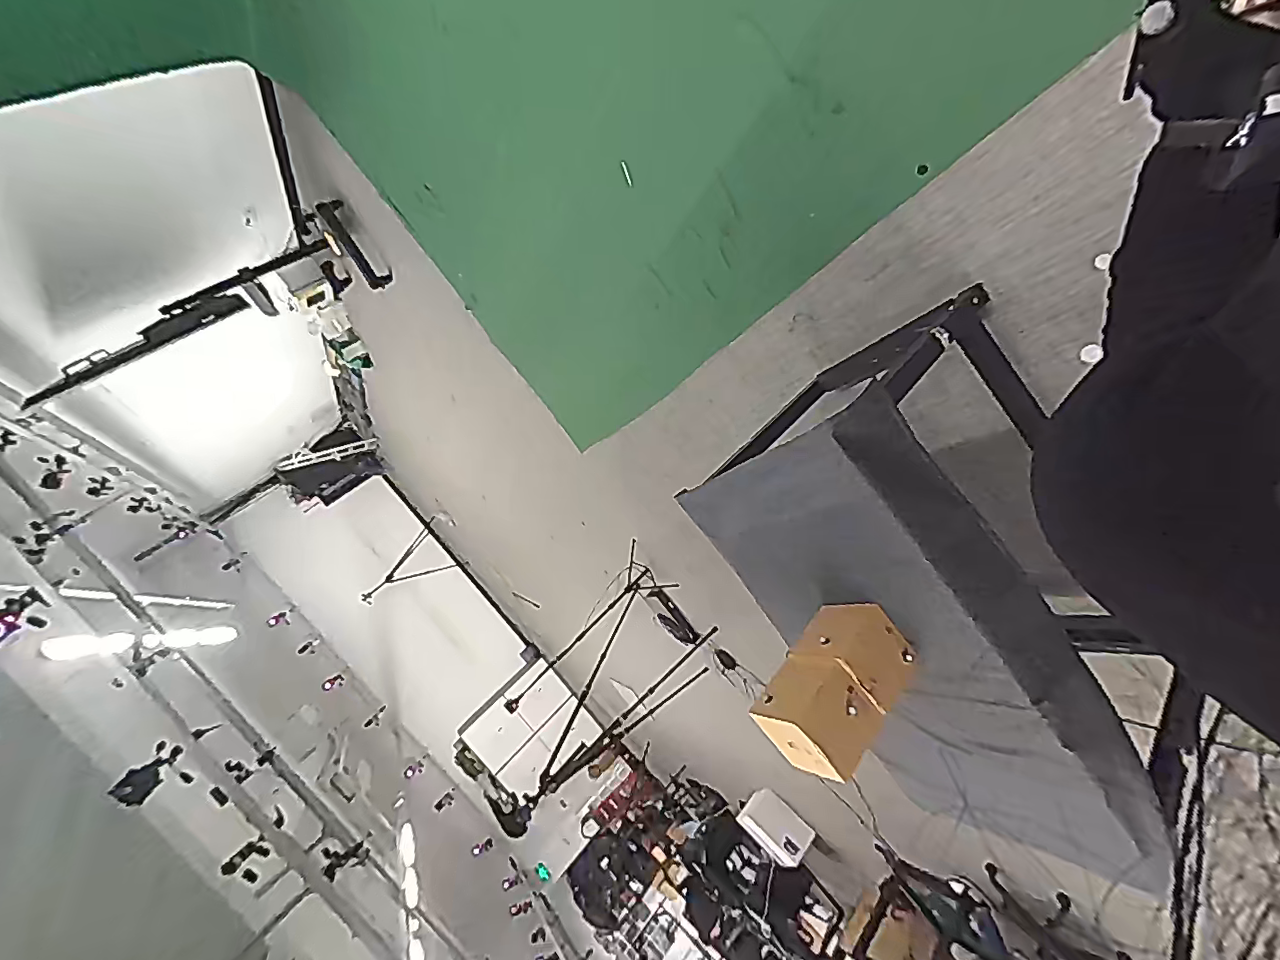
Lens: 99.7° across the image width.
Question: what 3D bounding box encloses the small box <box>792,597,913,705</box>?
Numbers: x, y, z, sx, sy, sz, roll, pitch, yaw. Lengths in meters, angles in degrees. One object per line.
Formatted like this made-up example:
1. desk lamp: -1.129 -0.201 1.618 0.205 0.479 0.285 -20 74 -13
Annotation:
1. small box: 0.498 0.386 1.250 0.168 0.176 0.179 51 154 -4

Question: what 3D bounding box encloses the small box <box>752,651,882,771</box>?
1. small box: 0.390 0.496 1.191 0.168 0.176 0.179 50 153 -3
